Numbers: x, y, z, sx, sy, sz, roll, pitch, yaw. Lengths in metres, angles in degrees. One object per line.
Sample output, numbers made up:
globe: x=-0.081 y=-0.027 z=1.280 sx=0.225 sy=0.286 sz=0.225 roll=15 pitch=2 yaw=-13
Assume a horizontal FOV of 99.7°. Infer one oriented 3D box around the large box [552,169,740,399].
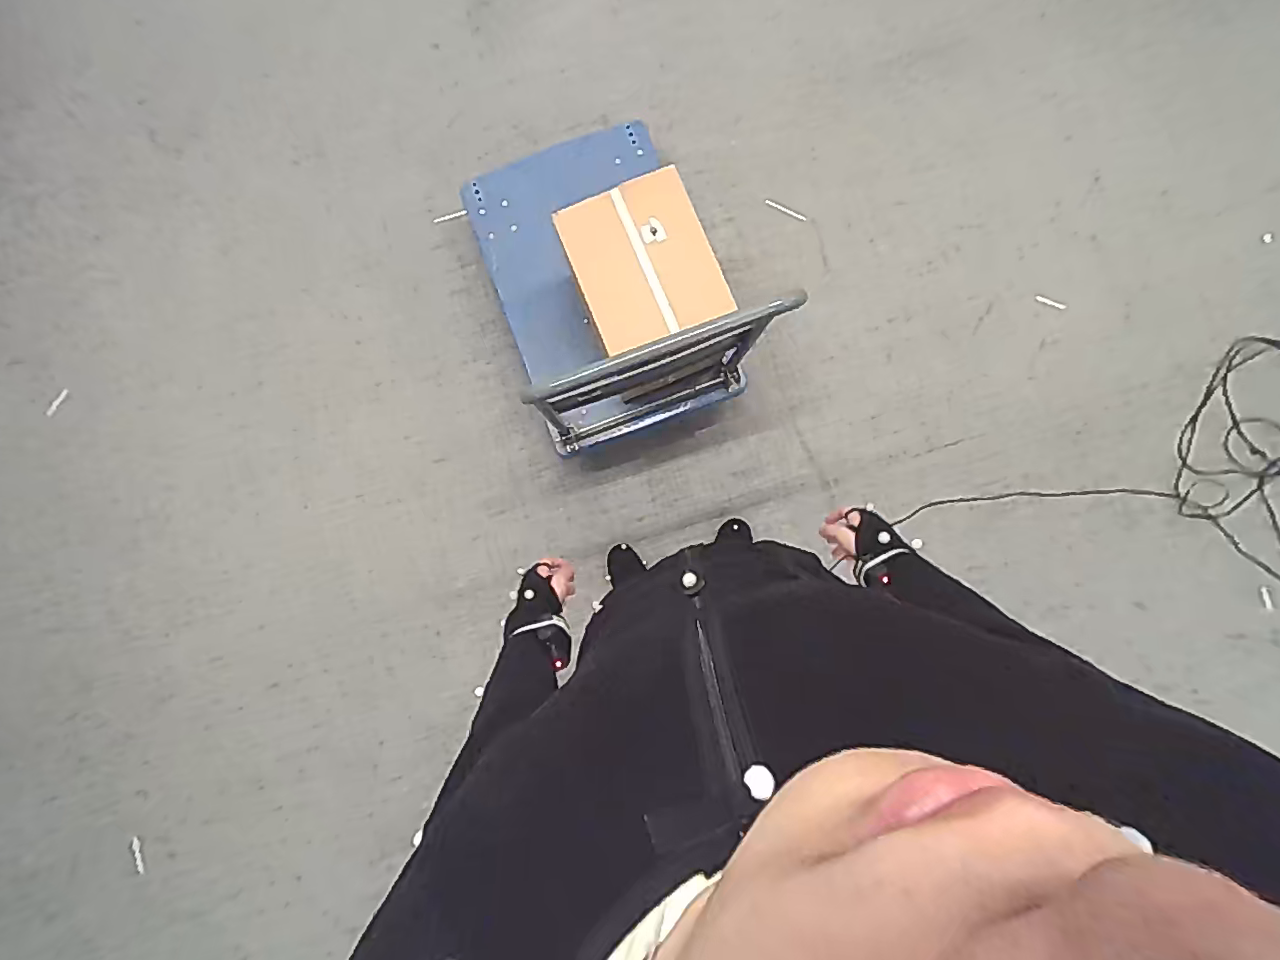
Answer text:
large box: x=0.018 y=-0.474 z=1.386 sx=0.320 sy=0.320 sz=0.408 roll=-23 pitch=84 yaw=-2
